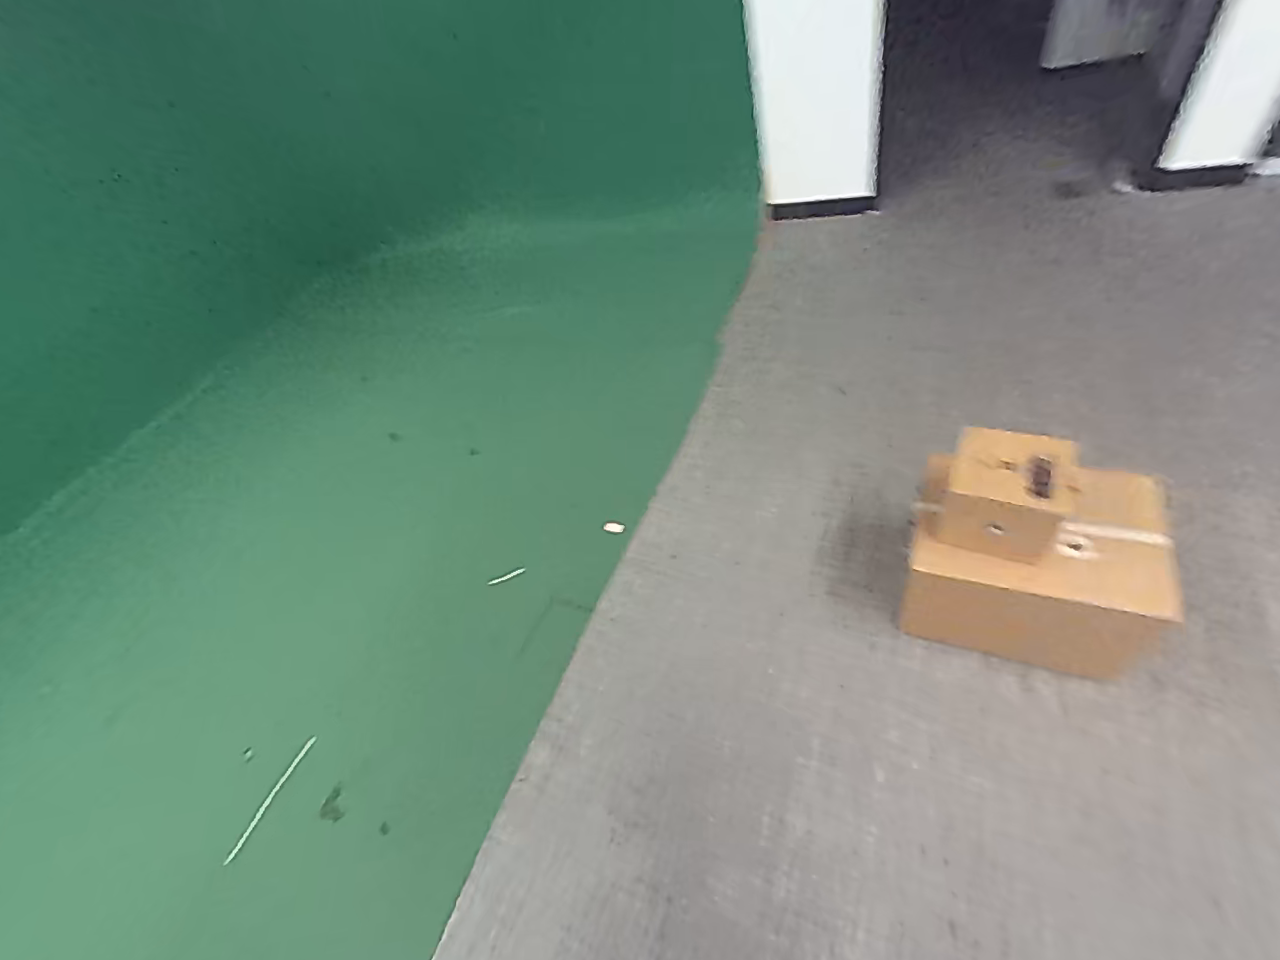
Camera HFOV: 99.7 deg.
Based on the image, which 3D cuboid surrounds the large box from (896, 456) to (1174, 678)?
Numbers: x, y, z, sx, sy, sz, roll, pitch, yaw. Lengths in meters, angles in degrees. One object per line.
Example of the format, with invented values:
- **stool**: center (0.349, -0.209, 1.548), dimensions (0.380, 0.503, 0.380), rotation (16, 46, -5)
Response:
- **large box**: center (0.798, 0.180, 1.166), dimensions (0.408, 0.320, 0.320), rotation (9, 56, 25)
